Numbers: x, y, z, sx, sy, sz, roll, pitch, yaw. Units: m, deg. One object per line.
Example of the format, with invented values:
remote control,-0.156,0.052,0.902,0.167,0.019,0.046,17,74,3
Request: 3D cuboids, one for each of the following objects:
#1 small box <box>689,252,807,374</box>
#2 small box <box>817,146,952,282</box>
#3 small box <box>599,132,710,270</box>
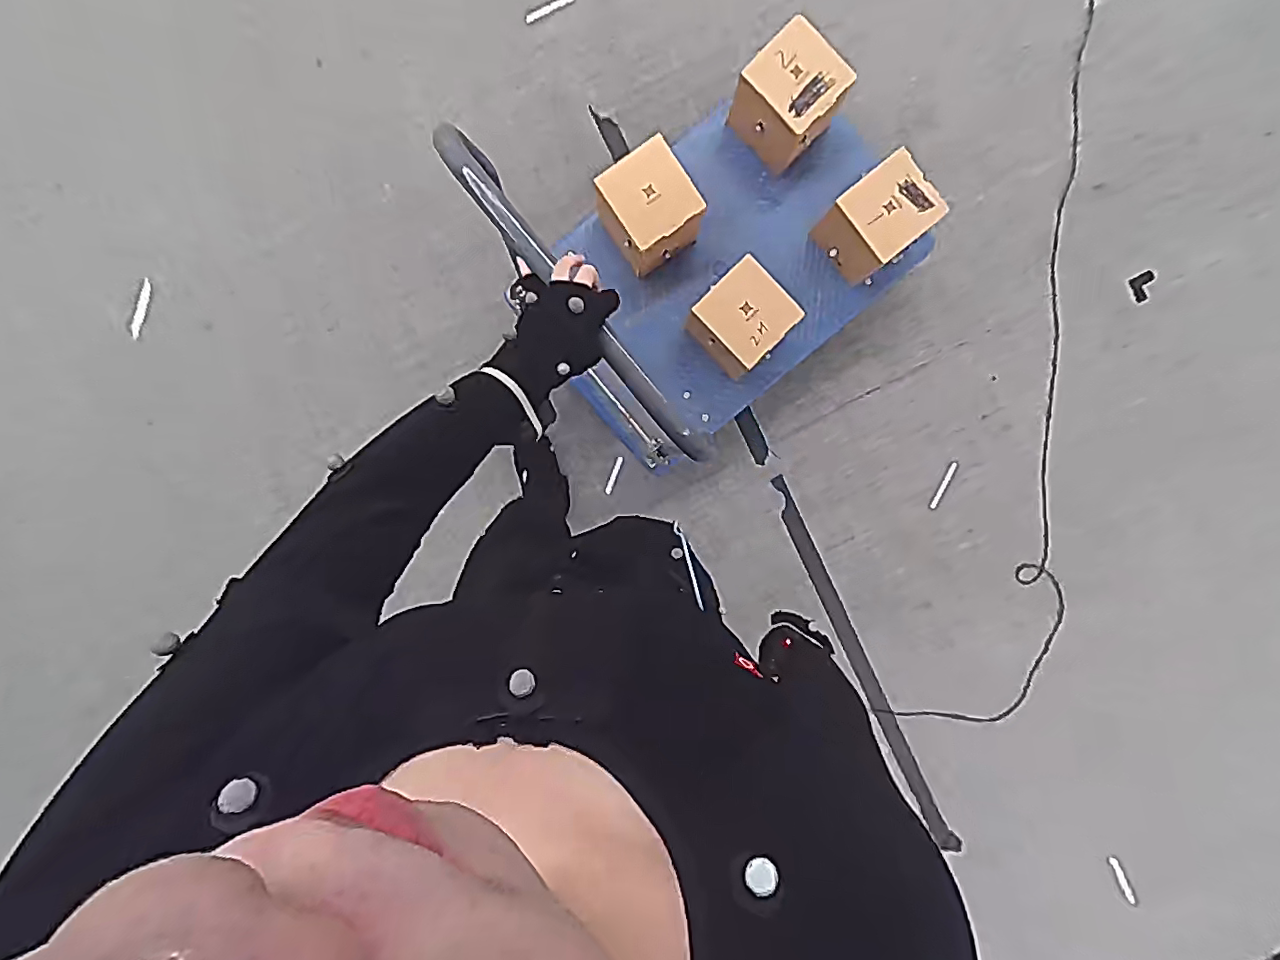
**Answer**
small box,0.225,-0.354,1.184,0.168,0.176,0.179,-44,93,2
small box,0.518,-0.565,1.175,0.179,0.176,0.168,-38,93,3
small box,0.025,-0.589,1.166,0.168,0.176,0.179,-35,96,1
